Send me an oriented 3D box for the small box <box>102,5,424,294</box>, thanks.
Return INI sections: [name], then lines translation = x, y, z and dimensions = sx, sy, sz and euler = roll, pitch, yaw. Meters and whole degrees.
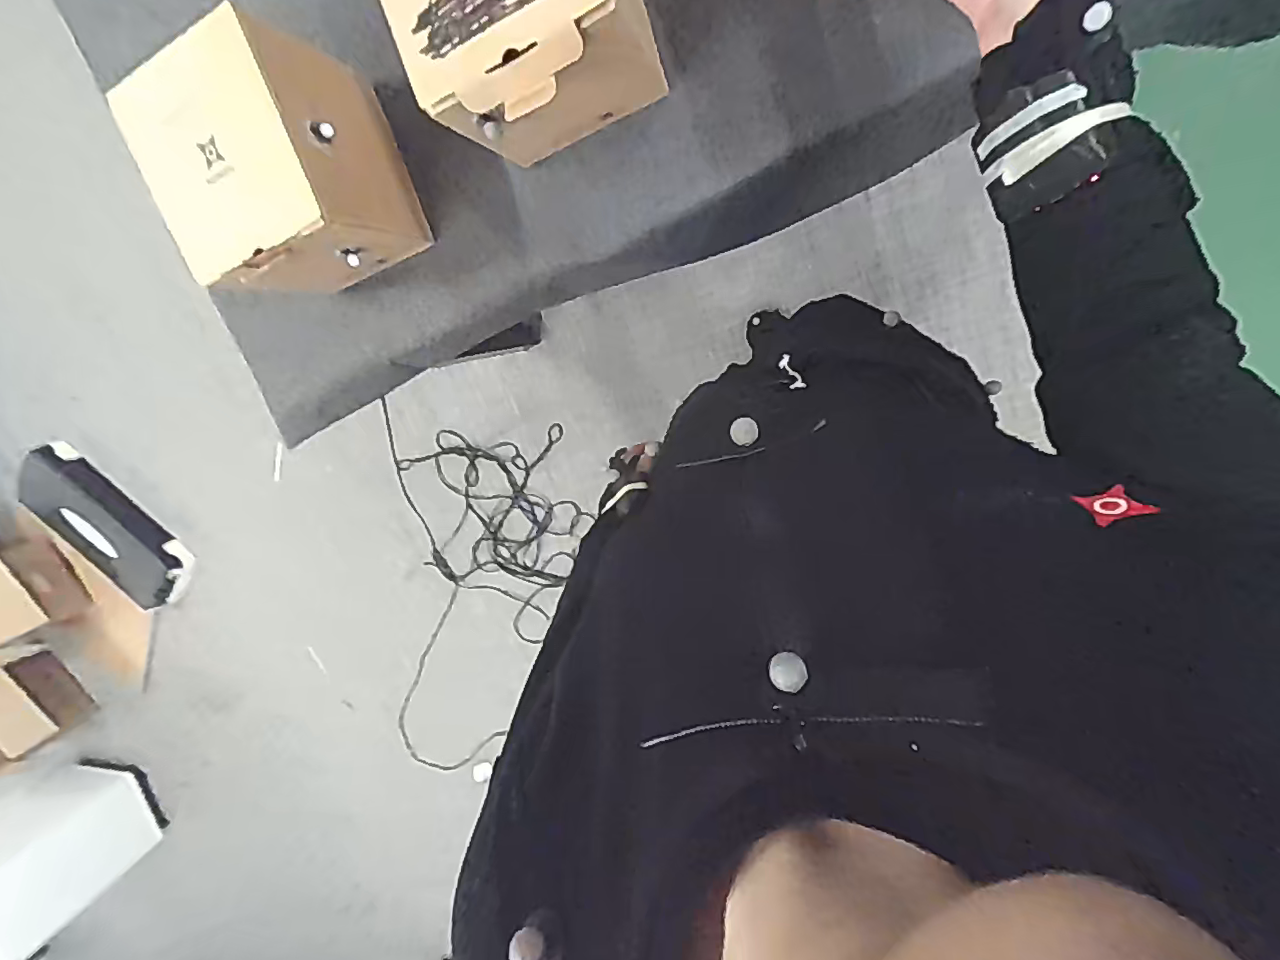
[small box]
translation = -0.352, -0.299, 0.541
dimensions = 0.168, 0.176, 0.179
euler = -16, 101, 18
